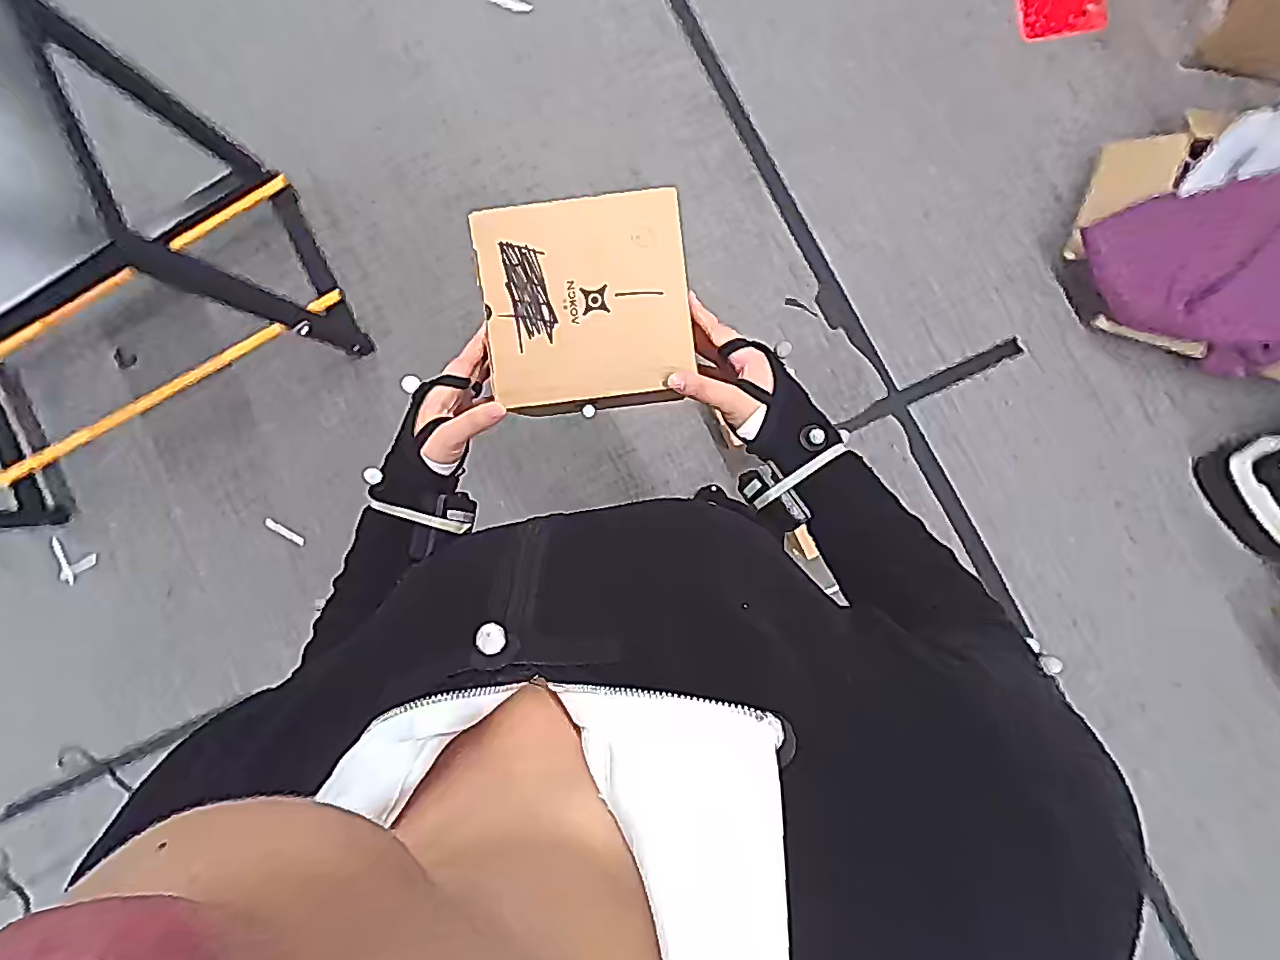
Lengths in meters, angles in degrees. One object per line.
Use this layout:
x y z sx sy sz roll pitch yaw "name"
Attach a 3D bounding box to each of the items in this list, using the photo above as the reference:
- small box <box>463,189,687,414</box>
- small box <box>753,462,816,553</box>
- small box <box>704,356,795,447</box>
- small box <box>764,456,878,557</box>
-0.054 -0.159 0.538 0.179 0.176 0.168 -7 95 0 "small box"
0.405 0.064 1.384 0.168 0.176 0.179 -27 88 5 "small box"
0.277 -0.194 1.396 0.179 0.176 0.168 -24 87 6 "small box"
0.398 0.055 1.221 0.179 0.176 0.168 -25 87 6 "small box"
